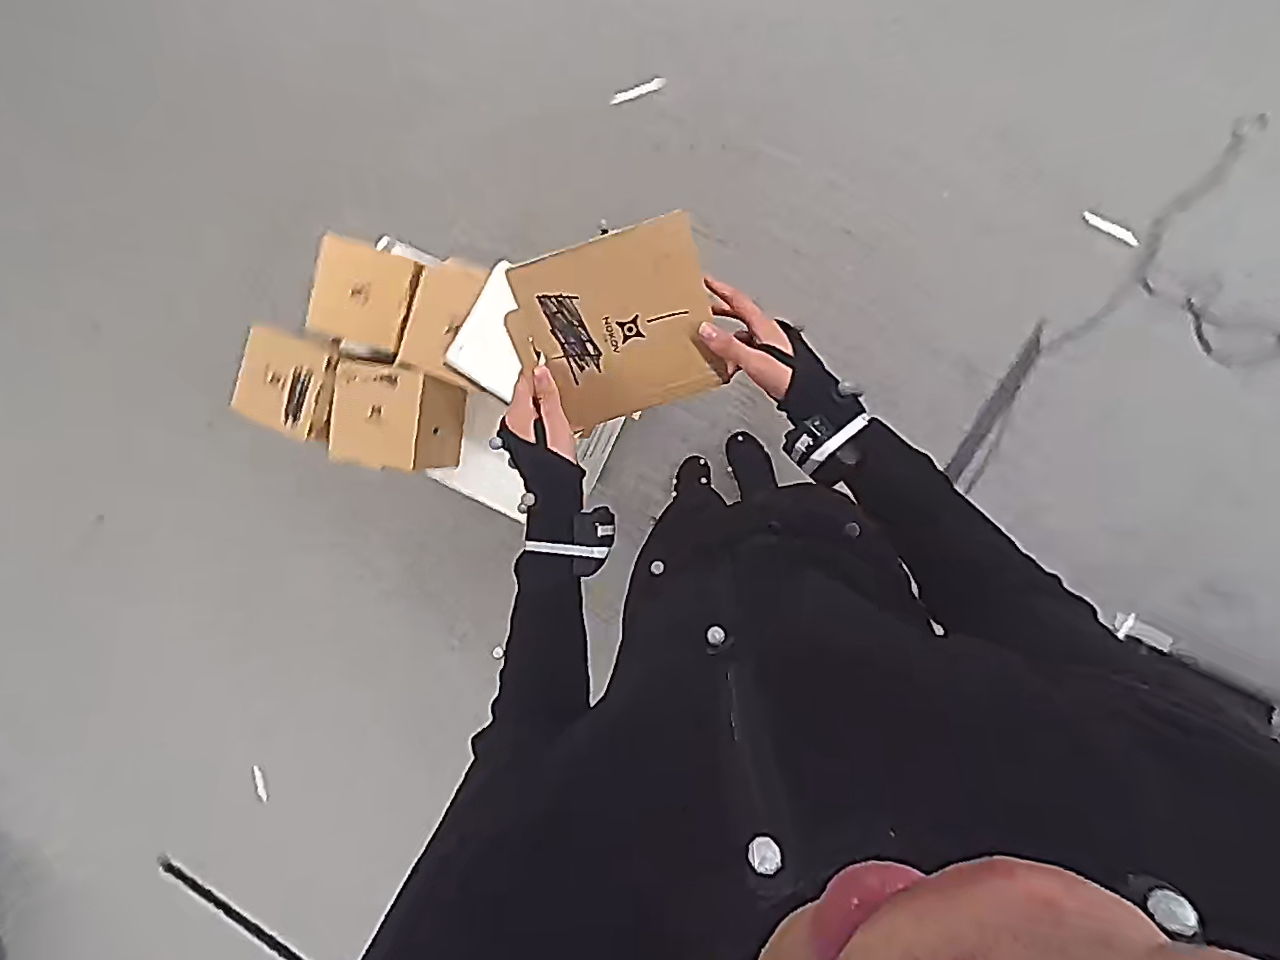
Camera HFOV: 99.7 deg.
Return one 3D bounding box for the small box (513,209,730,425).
[{"bbox_3d":[-0.013,-0.181,0.592,0.179,0.176,0.168,-15,115,7],"label":"small box"}]
